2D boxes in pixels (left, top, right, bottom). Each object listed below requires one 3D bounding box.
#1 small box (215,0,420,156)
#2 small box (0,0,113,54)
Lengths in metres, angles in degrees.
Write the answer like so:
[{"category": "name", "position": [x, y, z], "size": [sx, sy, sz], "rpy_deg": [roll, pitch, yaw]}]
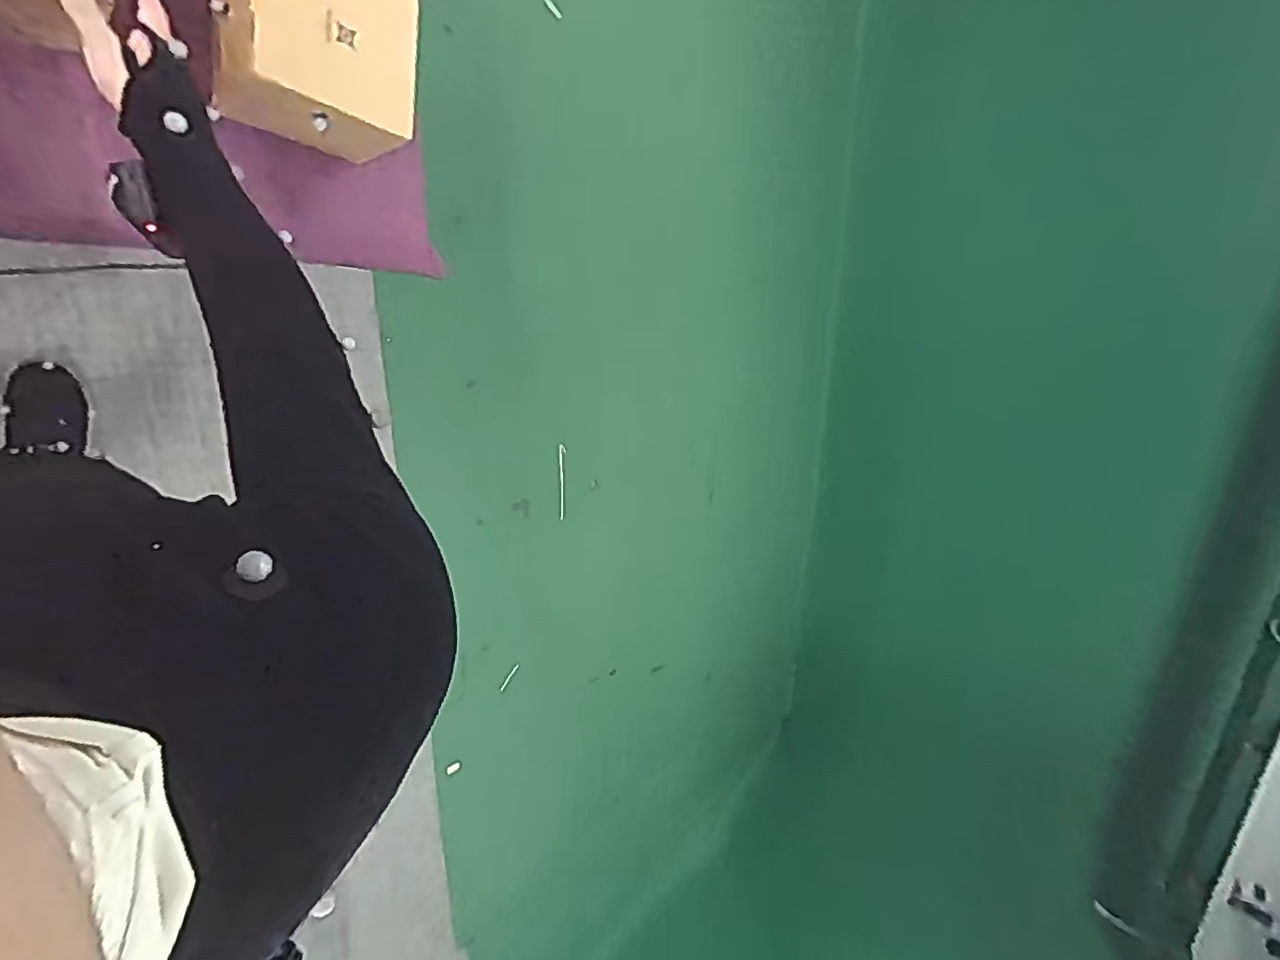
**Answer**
[{"category": "small box", "position": [-0.398, -0.525, 0.668], "size": [0.179, 0.176, 0.168], "rpy_deg": [-4, 105, -47]}, {"category": "small box", "position": [-0.587, -0.509, 0.455], "size": [0.168, 0.176, 0.179], "rpy_deg": [-18, 116, -44]}]
